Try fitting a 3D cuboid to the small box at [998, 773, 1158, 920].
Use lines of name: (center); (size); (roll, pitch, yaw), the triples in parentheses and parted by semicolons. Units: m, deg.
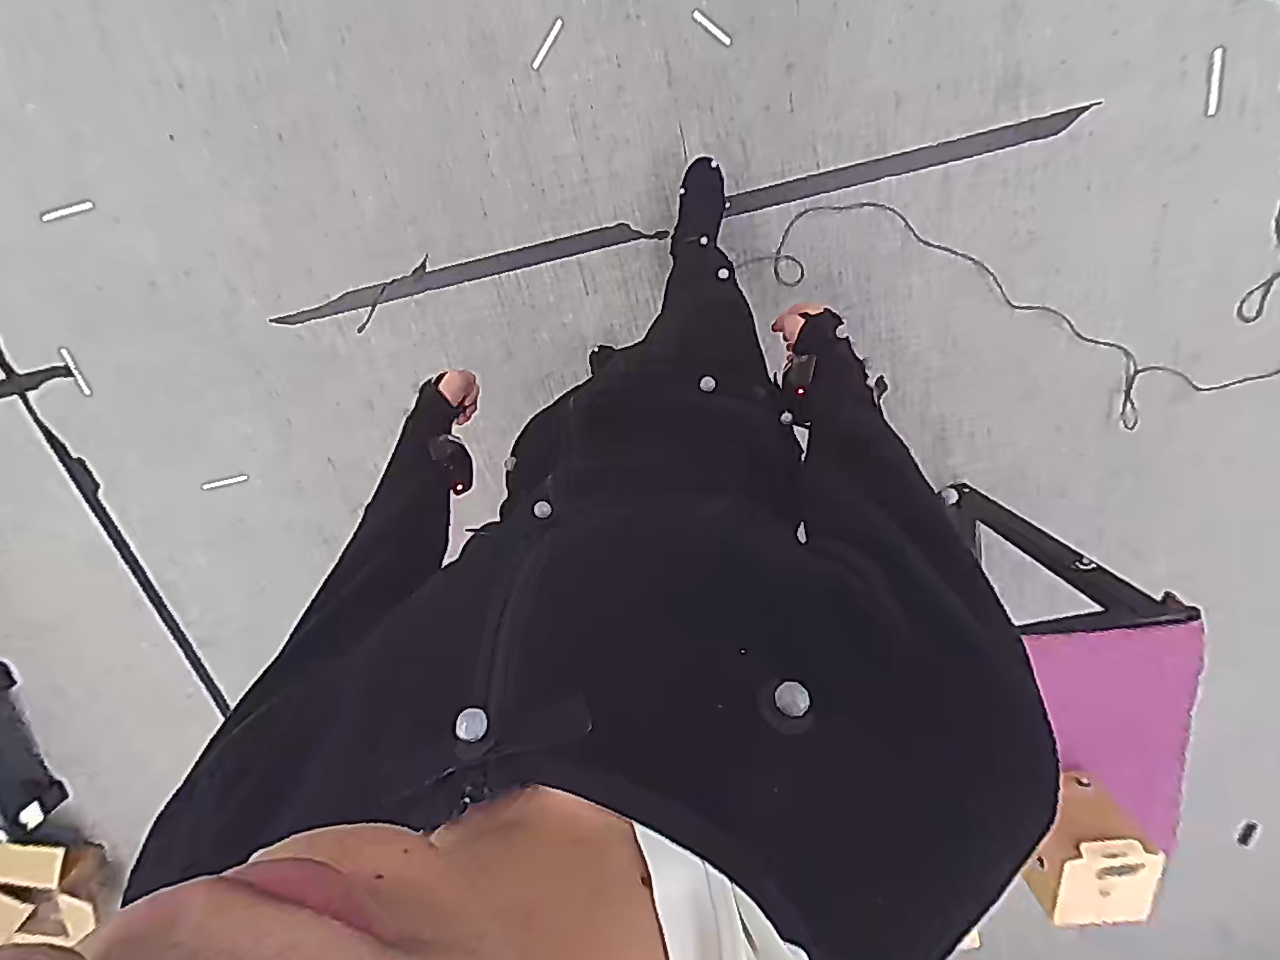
small box: (0.818, 0.687, 1.030); (0.168, 0.176, 0.179); (-6, 109, 4)
